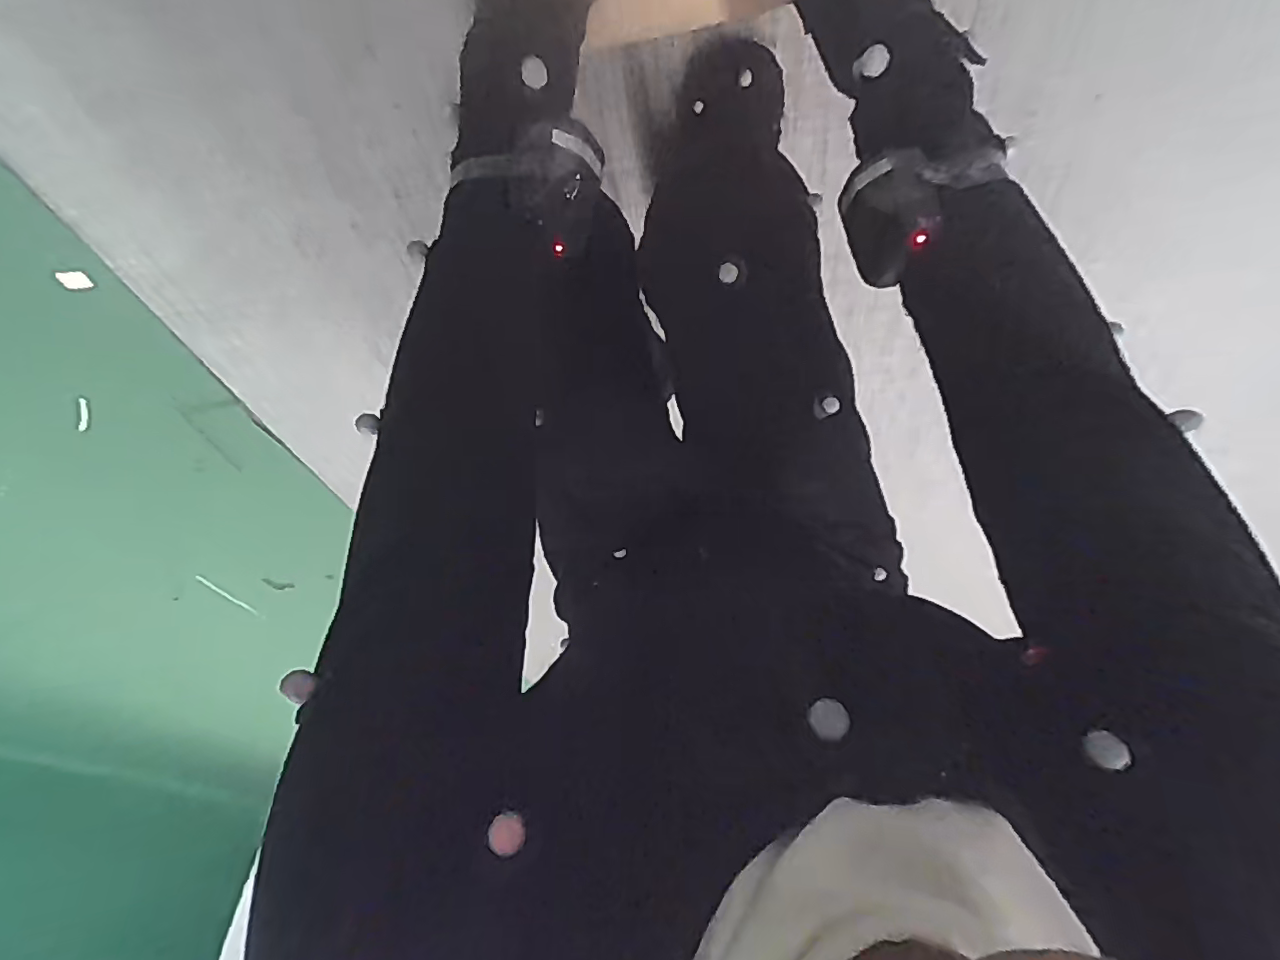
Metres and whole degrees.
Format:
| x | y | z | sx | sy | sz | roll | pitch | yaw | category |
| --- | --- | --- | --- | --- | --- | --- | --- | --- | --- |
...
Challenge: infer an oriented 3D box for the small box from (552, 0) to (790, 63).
| x | y | z | sx | sy | sz | roll | pitch | yaw | category |
| --- | --- | --- | --- | --- | --- | --- | --- | --- | --- |
| 0.011 | -0.451 | 0.403 | 0.179 | 0.176 | 0.168 | -7 | 140 | 9 | small box |
